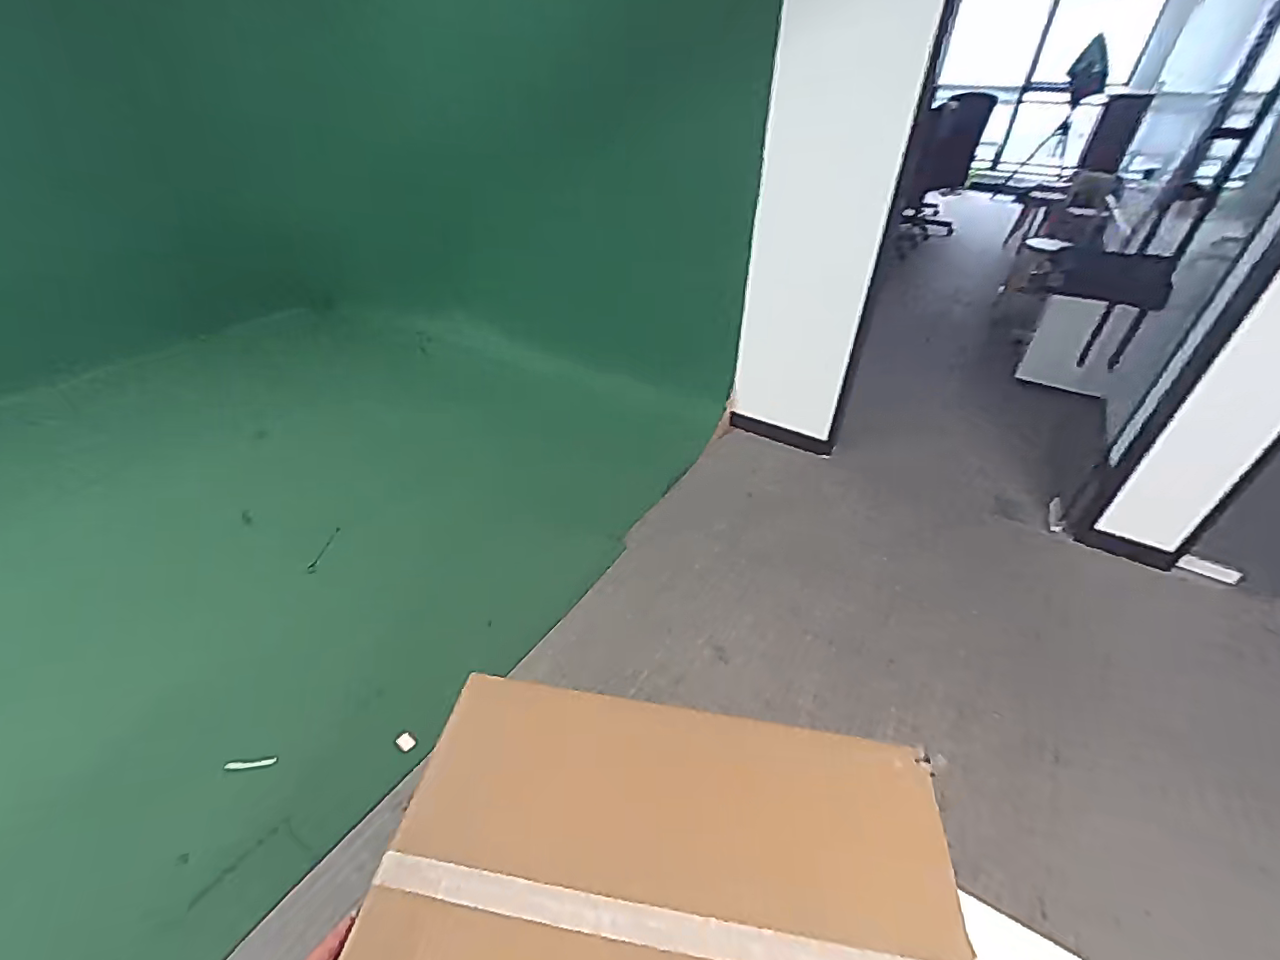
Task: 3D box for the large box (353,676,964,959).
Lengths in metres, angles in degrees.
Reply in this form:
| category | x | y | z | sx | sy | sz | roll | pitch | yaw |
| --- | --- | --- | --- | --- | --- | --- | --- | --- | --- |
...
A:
| category | x | y | z | sx | sy | sz | roll | pitch | yaw |
| --- | --- | --- | --- | --- | --- | --- | --- | --- | --- |
| large box | 0.013 | 0.412 | 0.467 | 0.408 | 0.320 | 0.320 | 6 | 40 | 6 |
